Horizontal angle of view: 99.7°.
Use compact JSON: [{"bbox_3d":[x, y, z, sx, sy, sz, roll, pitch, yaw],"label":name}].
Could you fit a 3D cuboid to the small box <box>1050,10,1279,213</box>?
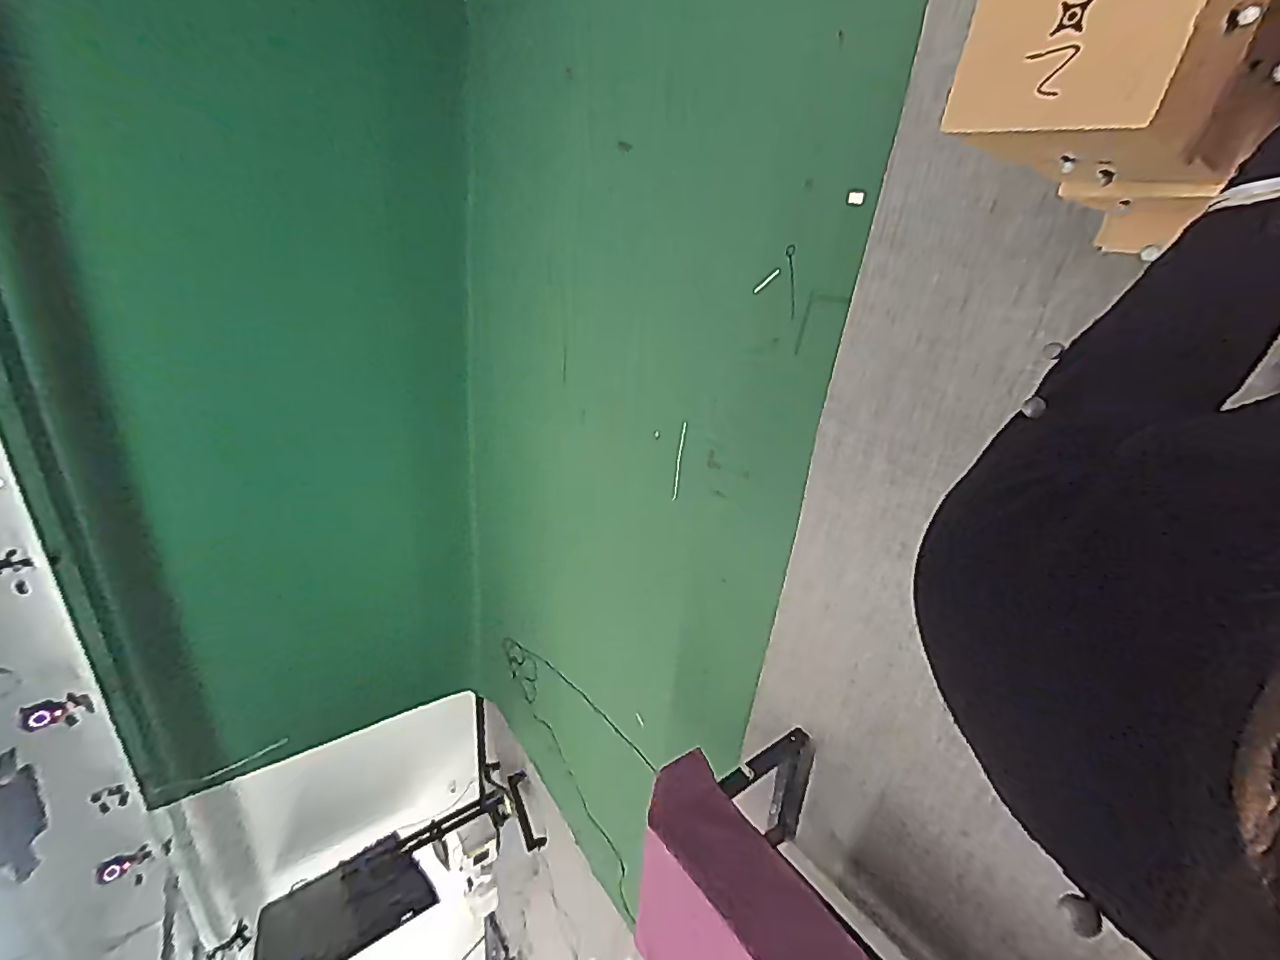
[{"bbox_3d":[0.669,-0.442,0.679,0.168,0.176,0.179,33,124,44],"label":"small box"}]
